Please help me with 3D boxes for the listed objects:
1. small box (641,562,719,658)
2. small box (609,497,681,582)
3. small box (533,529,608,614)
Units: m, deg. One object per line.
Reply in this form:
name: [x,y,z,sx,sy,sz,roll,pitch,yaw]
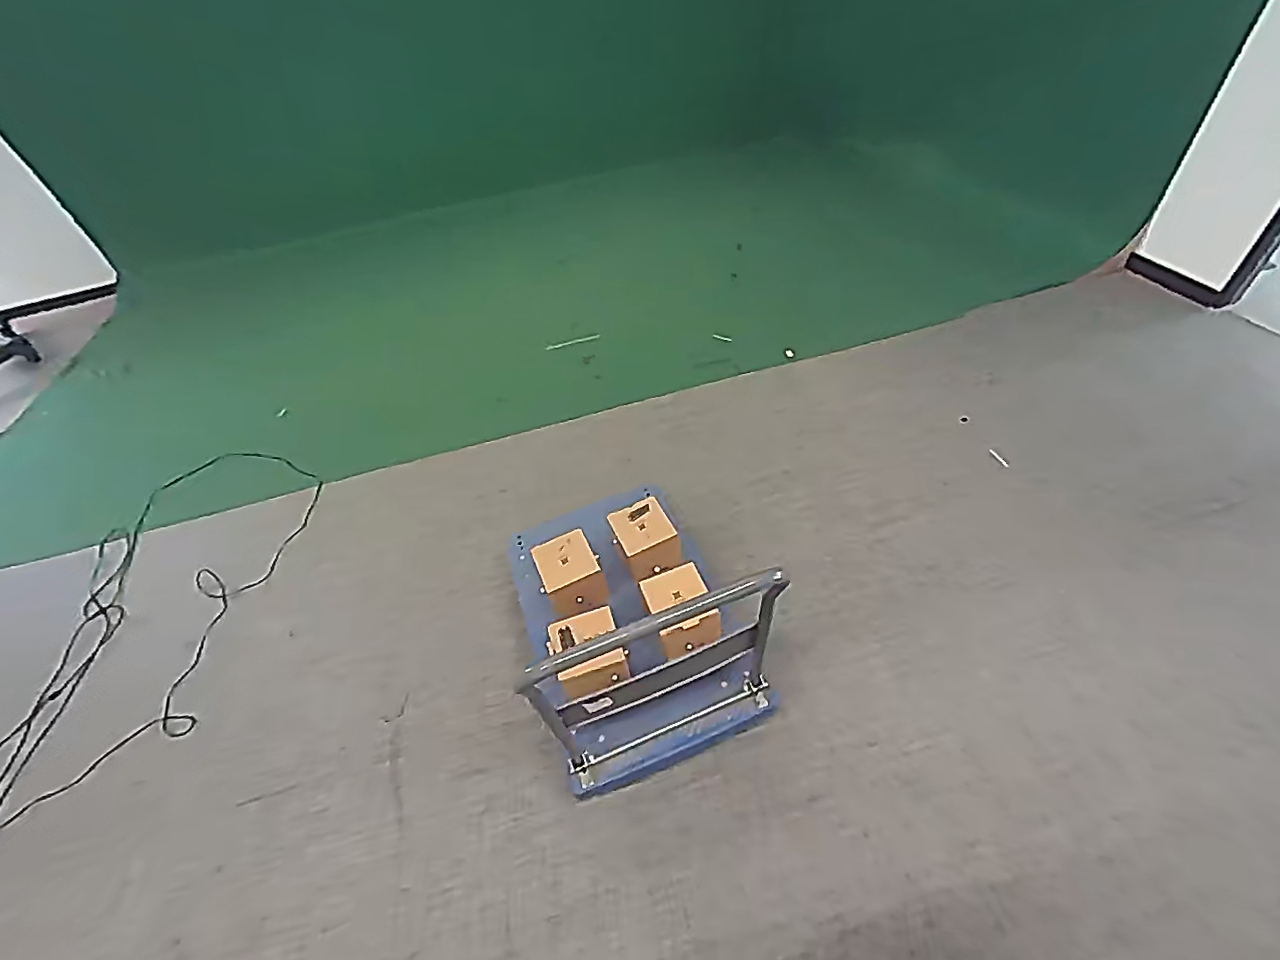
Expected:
small box: [0.114,0.370,1.536,0.168,0.176,0.179,-20,48,-8]
small box: [0.018,0.191,1.715,0.168,0.176,0.179,-23,49,-10]
small box: [-0.209,0.289,1.665,0.168,0.176,0.179,-22,48,-12]
